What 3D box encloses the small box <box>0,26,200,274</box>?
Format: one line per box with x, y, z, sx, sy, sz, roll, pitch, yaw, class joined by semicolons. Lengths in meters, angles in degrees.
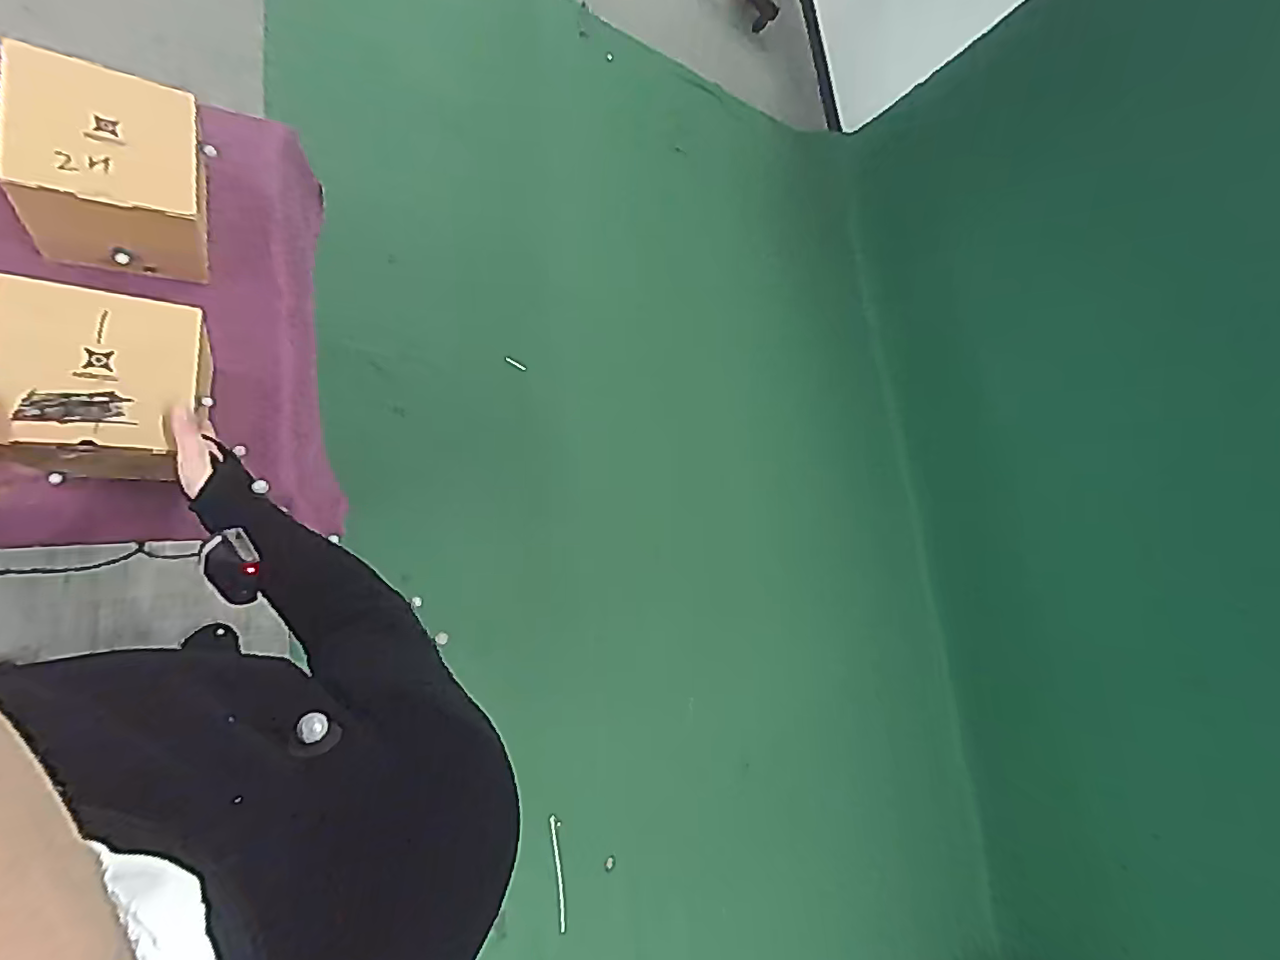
-0.670;-0.394;0.683;0.168;0.176;0.179;-1;81;-36;small box

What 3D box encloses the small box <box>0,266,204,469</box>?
-0.620;-0.112;0.627;0.168;0.176;0.179;3;78;-35;small box
